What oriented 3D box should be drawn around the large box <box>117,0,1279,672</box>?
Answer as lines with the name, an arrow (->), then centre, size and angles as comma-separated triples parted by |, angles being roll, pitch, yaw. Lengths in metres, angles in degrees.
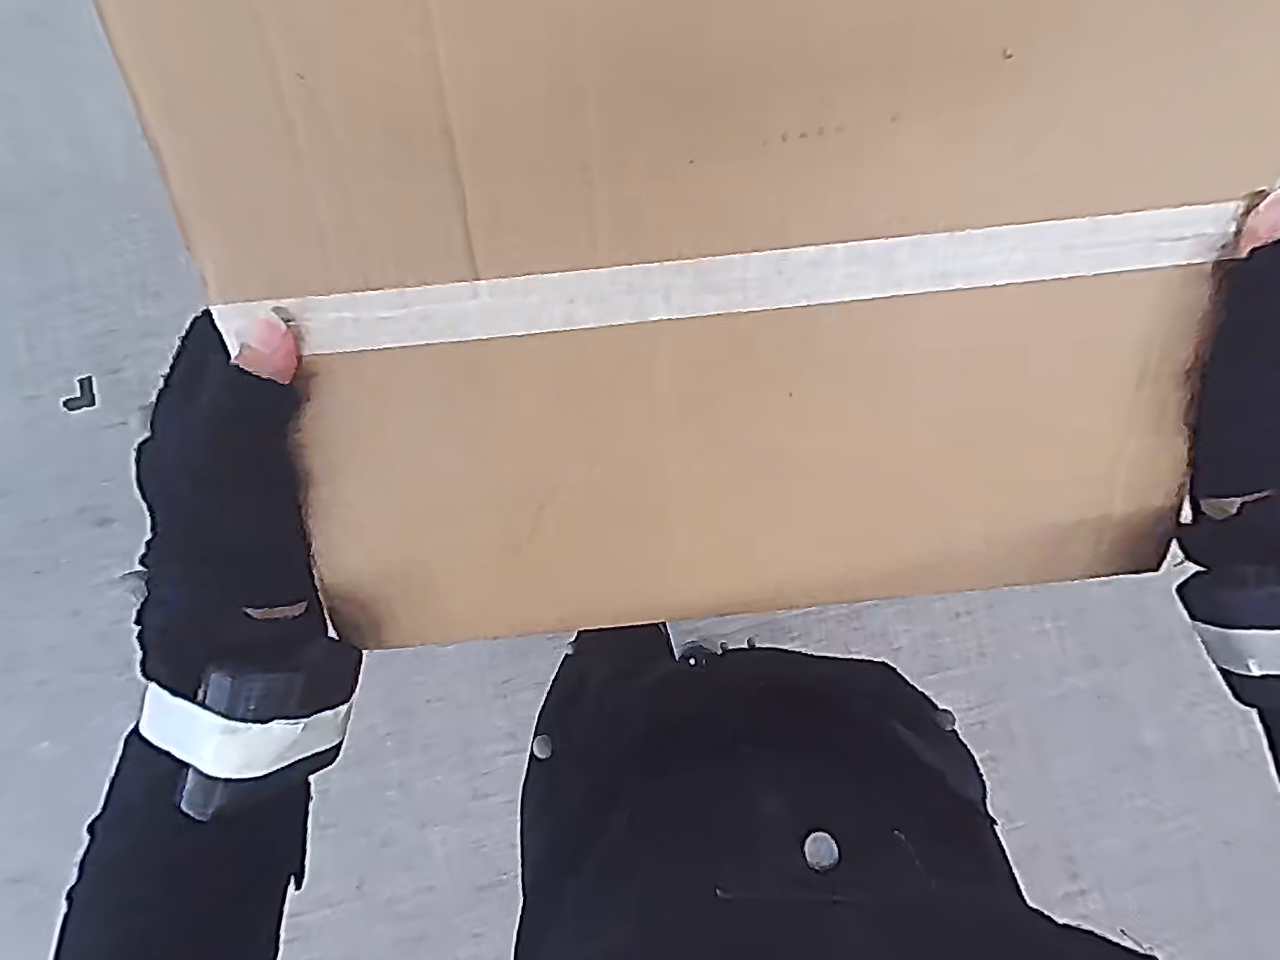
large box -> 0.038, -0.121, 0.358 | 0.408, 0.320, 0.320 | -6, 112, 0
